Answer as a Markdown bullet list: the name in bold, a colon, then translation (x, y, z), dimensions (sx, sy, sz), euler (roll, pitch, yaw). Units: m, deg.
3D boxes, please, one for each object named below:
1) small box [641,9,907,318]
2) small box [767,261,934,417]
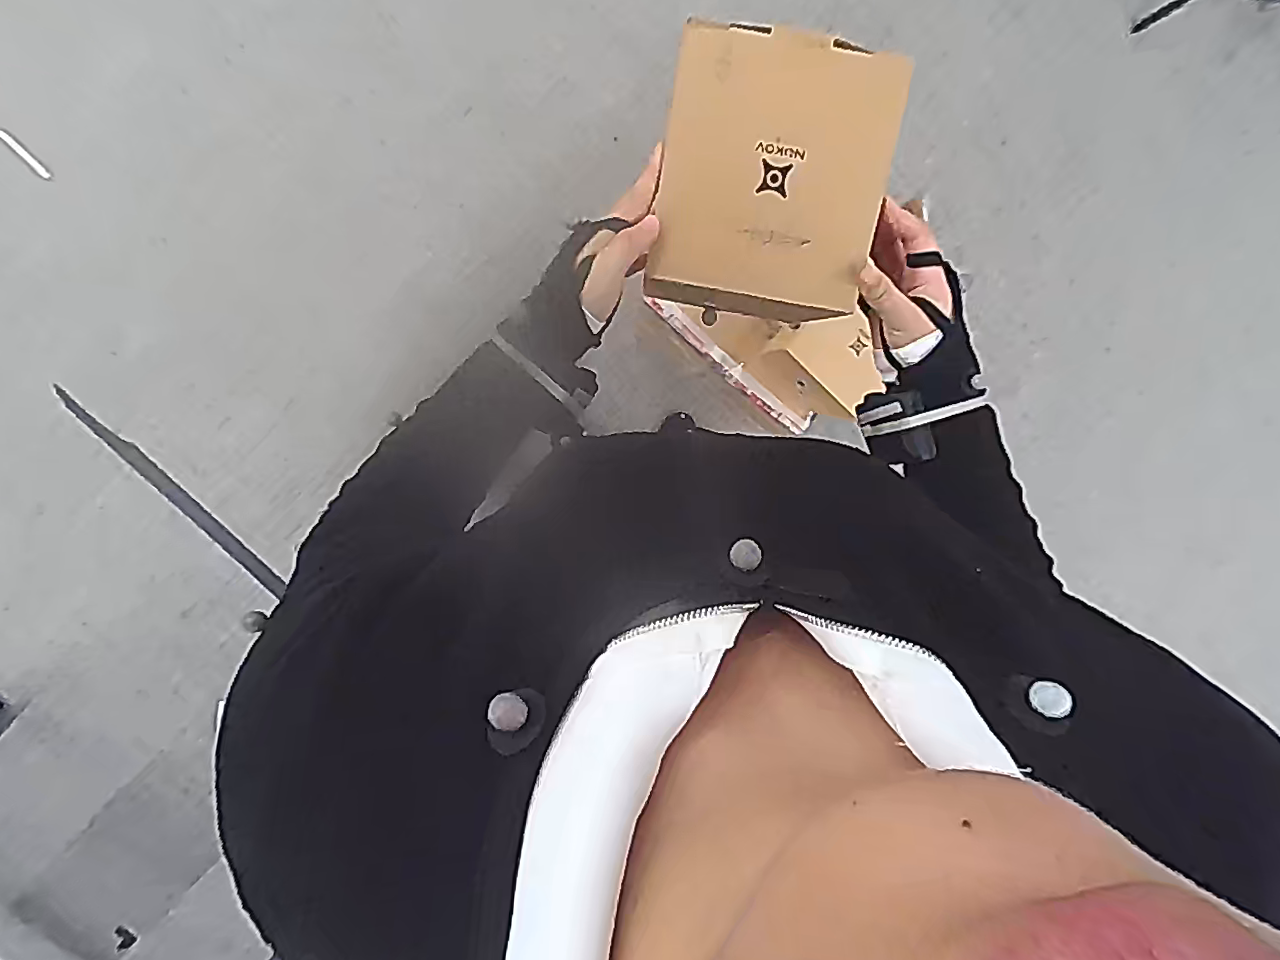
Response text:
- **small box**: translation (0.093, -0.247, 0.472), dimensions (0.168, 0.176, 0.179), euler (9, 104, -3)
- **small box**: translation (0.334, -0.226, 0.904), dimensions (0.168, 0.176, 0.179), euler (42, 96, -8)
